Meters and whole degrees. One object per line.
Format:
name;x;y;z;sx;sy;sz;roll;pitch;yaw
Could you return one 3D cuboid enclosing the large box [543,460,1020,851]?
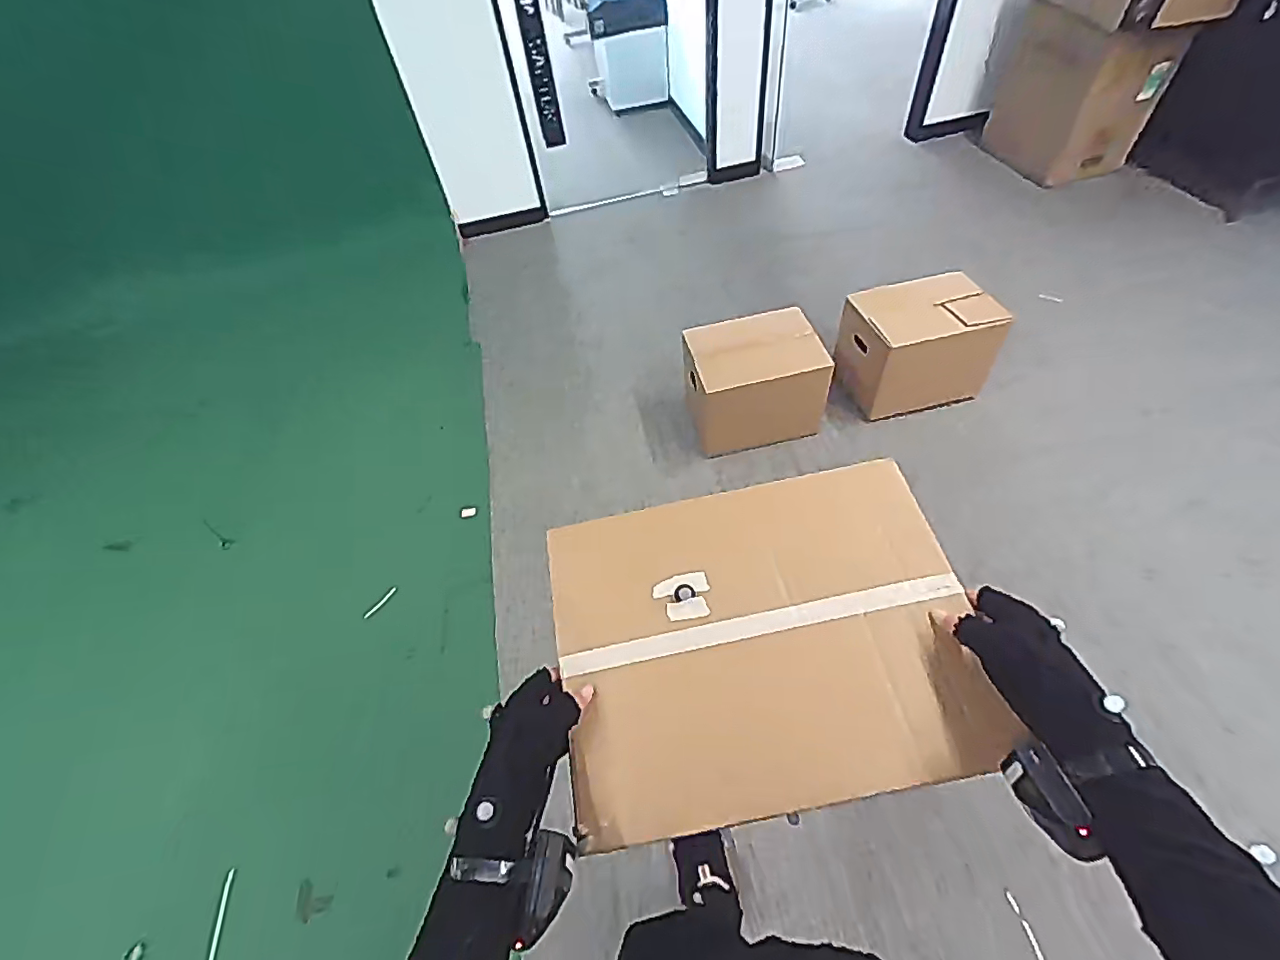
large box;0.128;0.220;0.666;0.408;0.320;0.320;-12;58;1
